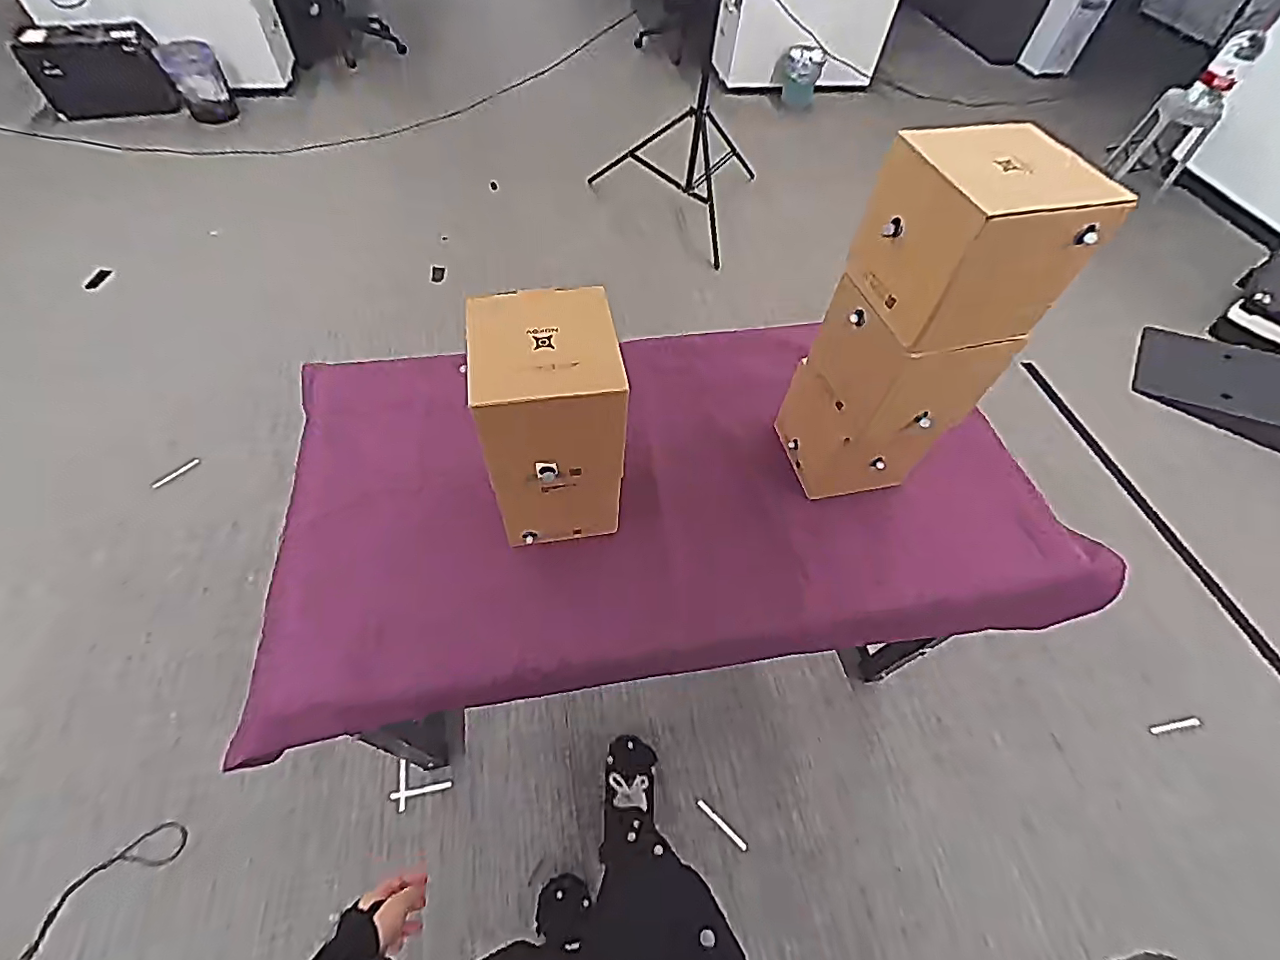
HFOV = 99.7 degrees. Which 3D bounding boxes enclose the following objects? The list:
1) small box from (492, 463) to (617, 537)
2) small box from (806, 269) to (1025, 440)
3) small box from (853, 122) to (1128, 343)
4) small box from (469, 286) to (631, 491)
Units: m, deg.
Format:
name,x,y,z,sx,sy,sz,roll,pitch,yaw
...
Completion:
name,x,y,z,sx,sy,sz,roll,pitch,yaw
small box,-0.126,-0.028,0.804,0.168,0.176,0.179,-7,56,-10
small box,0.361,-0.177,0.747,0.179,0.176,0.168,-11,57,-12
small box,0.369,-0.276,0.617,0.179,0.176,0.168,-11,57,-11
small box,-0.110,-0.110,0.664,0.168,0.176,0.179,-8,58,-9
